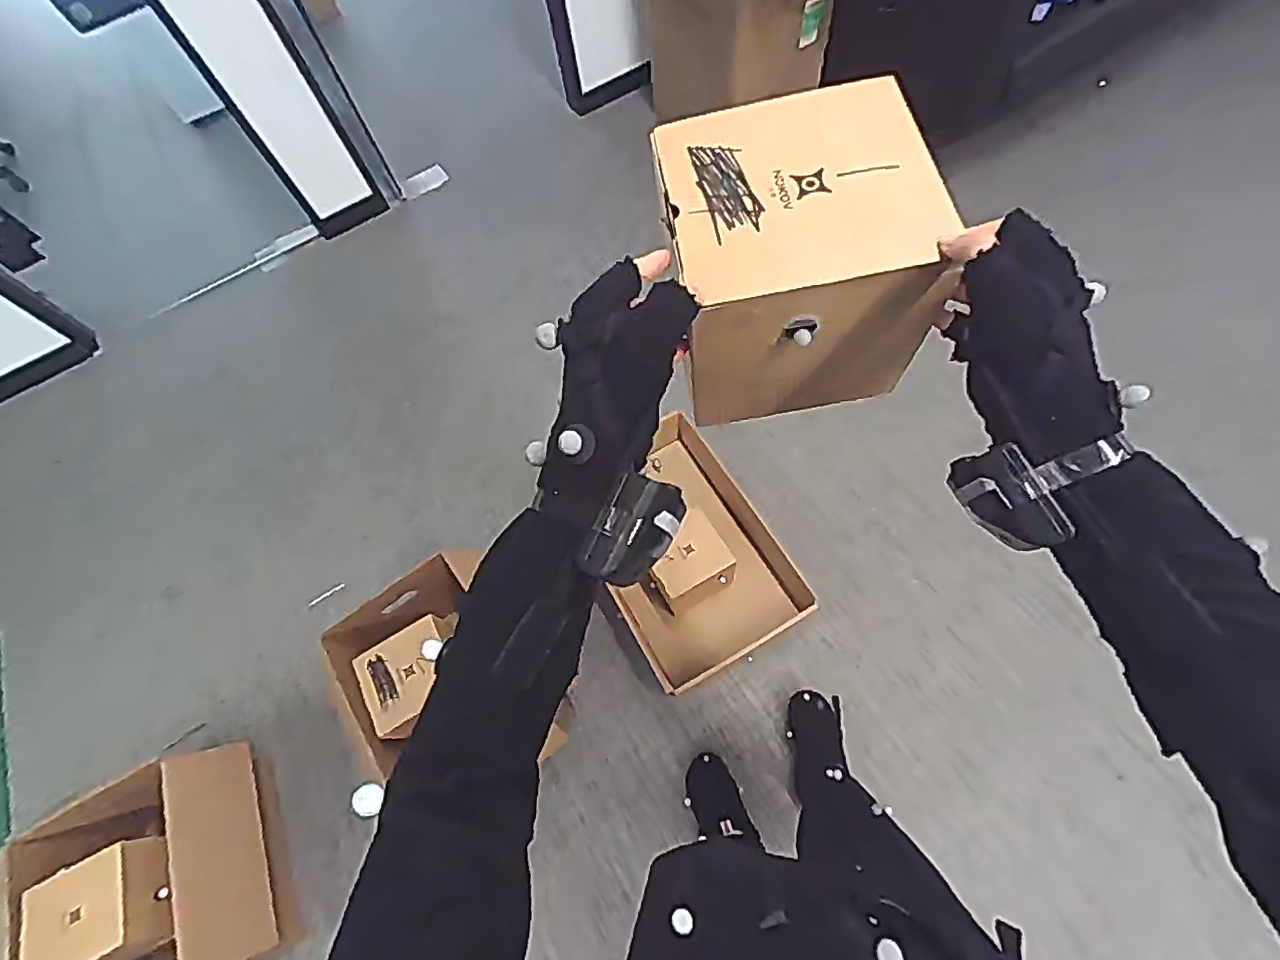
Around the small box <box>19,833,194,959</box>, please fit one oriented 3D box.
[{"bbox_3d":[-0.975,0.790,1.004,0.179,0.176,0.168,-27,63,-8],"label":"small box"}]

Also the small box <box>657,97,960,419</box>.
[{"bbox_3d":[0.117,-0.166,0.448,0.179,0.176,0.168,-9,68,3],"label":"small box"}]
